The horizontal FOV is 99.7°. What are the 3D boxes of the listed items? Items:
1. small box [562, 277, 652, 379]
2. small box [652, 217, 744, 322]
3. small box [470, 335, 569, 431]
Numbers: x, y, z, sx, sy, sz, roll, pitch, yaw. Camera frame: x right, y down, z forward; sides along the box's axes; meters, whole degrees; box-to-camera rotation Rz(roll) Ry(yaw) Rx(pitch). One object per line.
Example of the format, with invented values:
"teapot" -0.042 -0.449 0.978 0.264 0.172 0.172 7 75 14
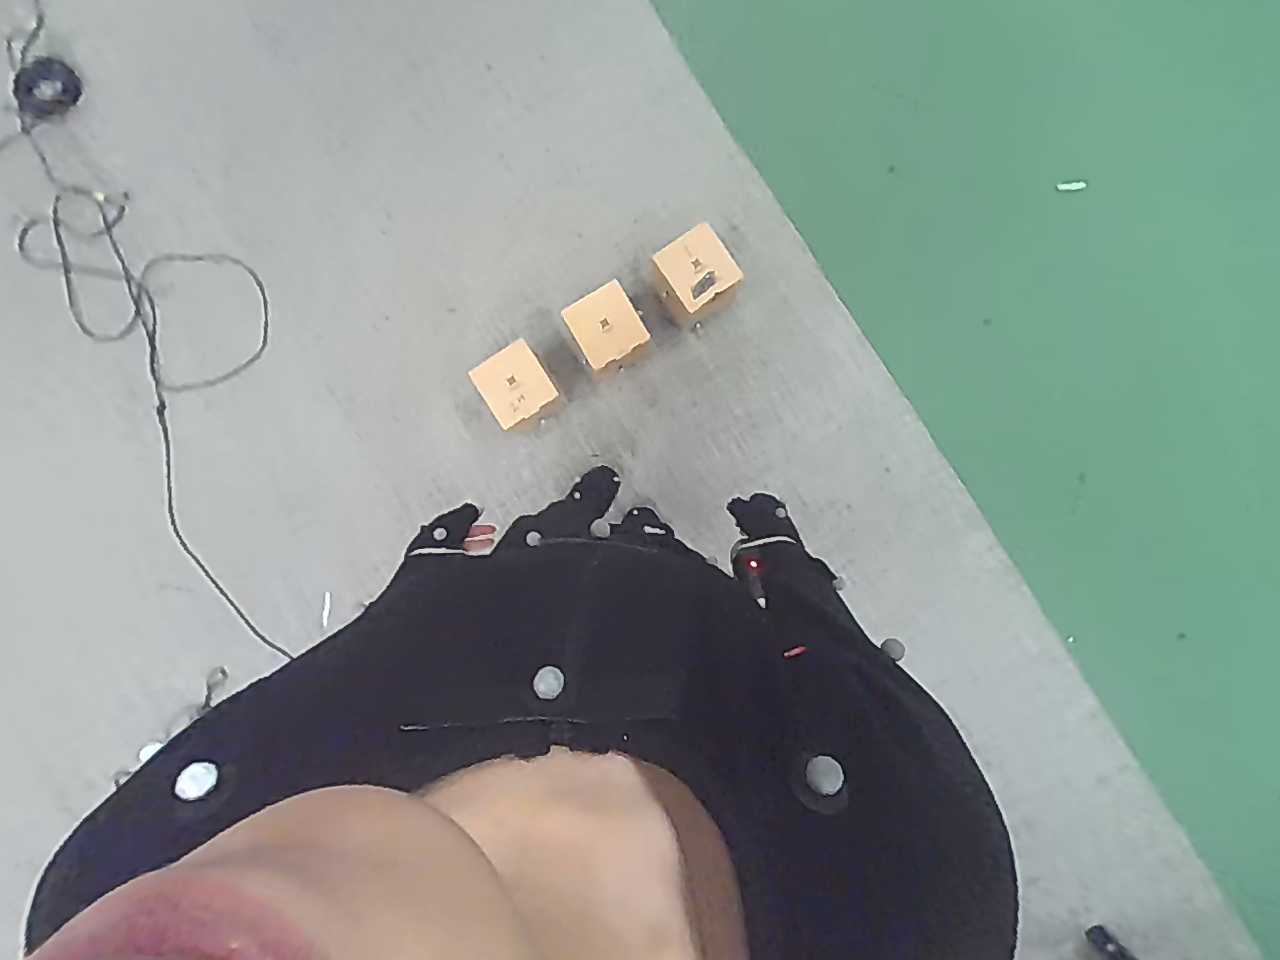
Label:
"small box" -0.081 -0.389 1.413 0.168 0.176 0.179 -31 89 1
"small box" 0.146 -0.533 1.407 0.168 0.176 0.179 -34 88 1
"small box" -0.307 -0.245 1.415 0.168 0.176 0.179 -33 89 2
